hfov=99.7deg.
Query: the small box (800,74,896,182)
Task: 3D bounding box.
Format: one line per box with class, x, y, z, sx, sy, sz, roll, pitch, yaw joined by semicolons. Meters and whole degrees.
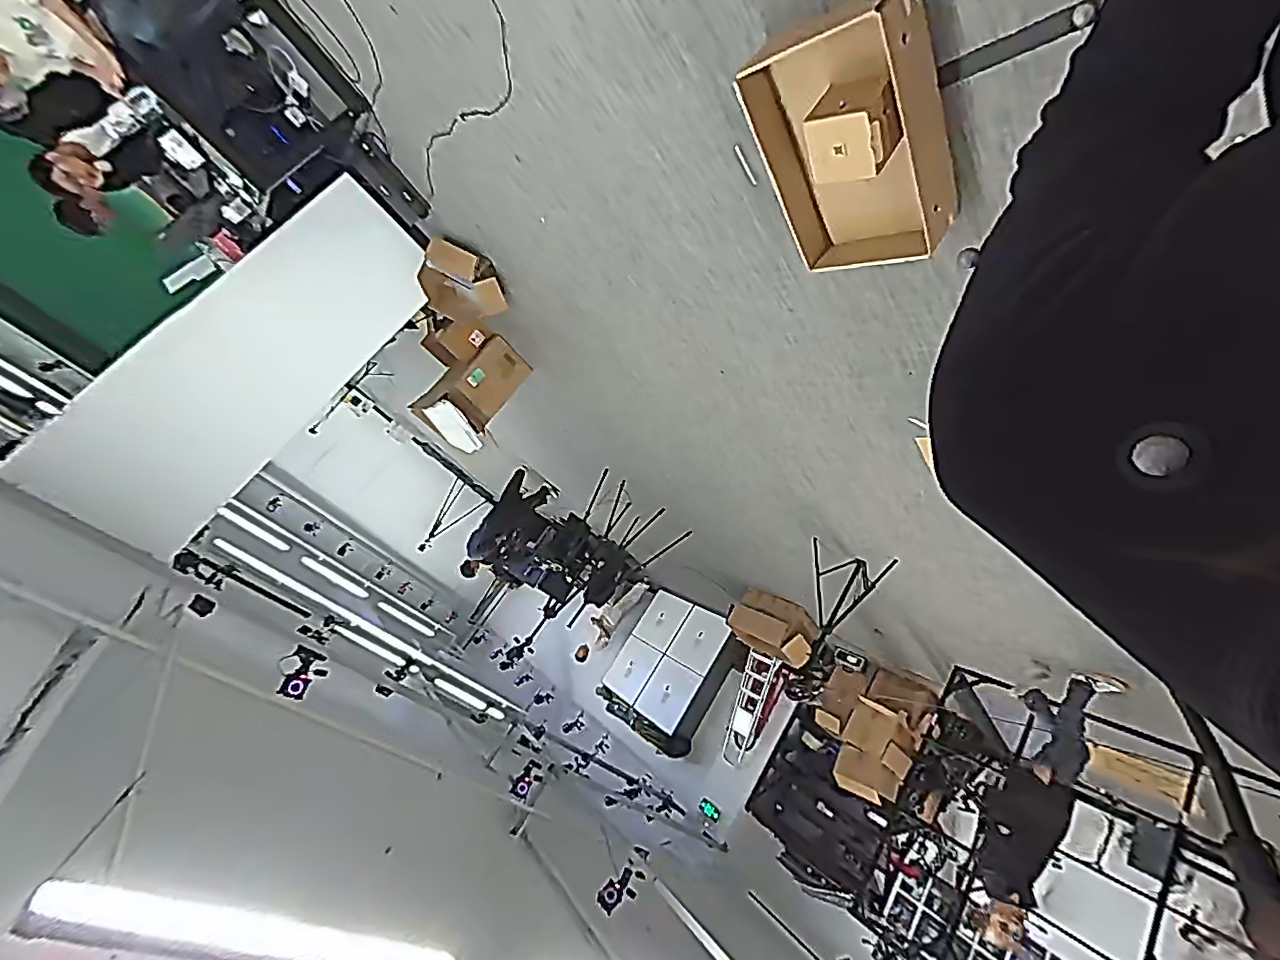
small box;0.543;-0.903;1.391;0.179;0.176;0.168;20;157;40
